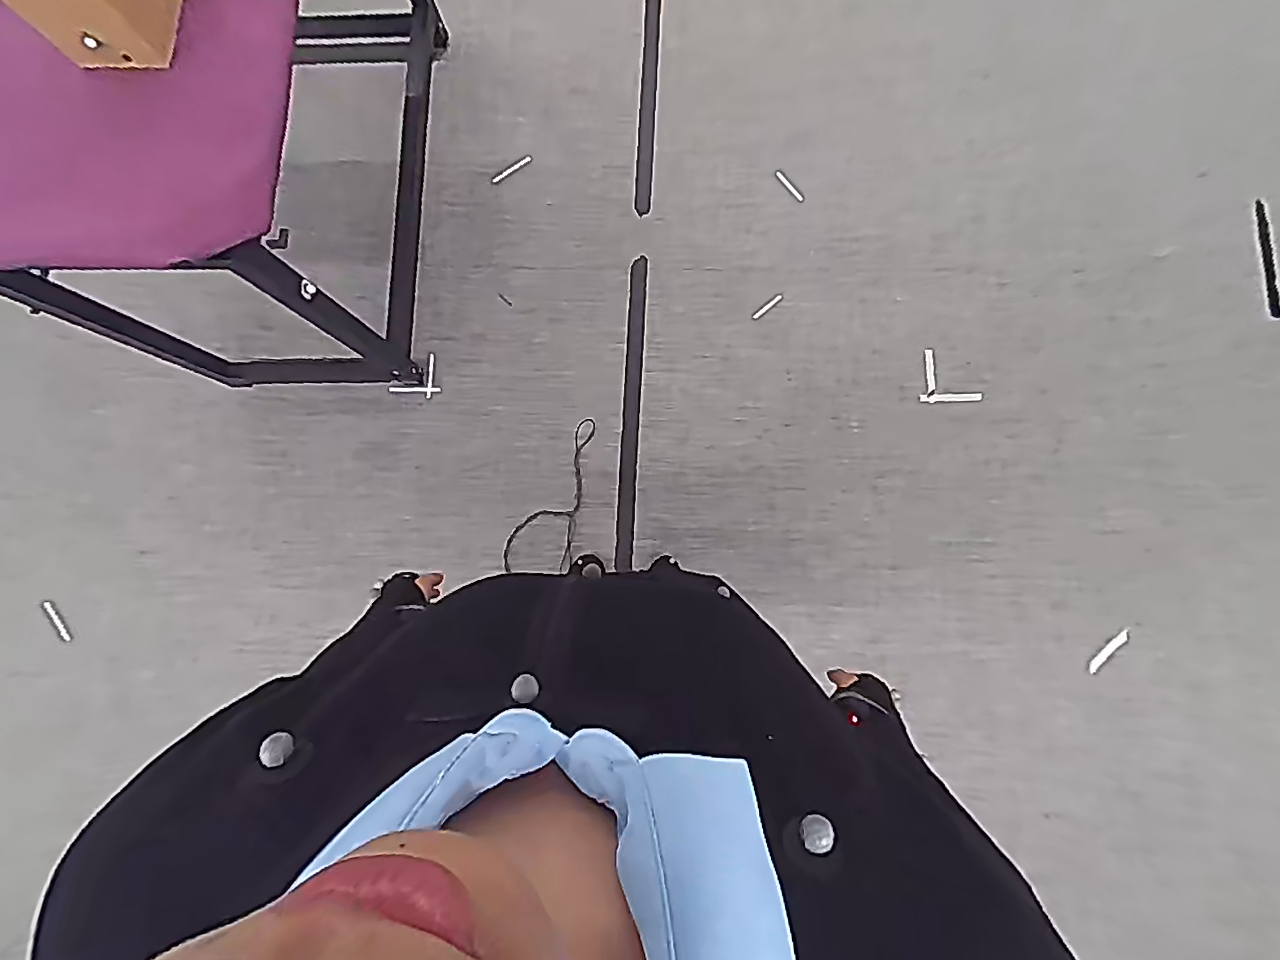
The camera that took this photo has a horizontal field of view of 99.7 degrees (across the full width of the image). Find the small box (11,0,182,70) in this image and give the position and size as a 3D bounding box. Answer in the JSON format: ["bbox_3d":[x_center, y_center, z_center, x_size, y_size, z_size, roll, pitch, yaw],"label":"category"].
[{"bbox_3d":[-0.879,-0.801,0.856,0.168,0.176,0.179,2,82,3],"label":"small box"}]
